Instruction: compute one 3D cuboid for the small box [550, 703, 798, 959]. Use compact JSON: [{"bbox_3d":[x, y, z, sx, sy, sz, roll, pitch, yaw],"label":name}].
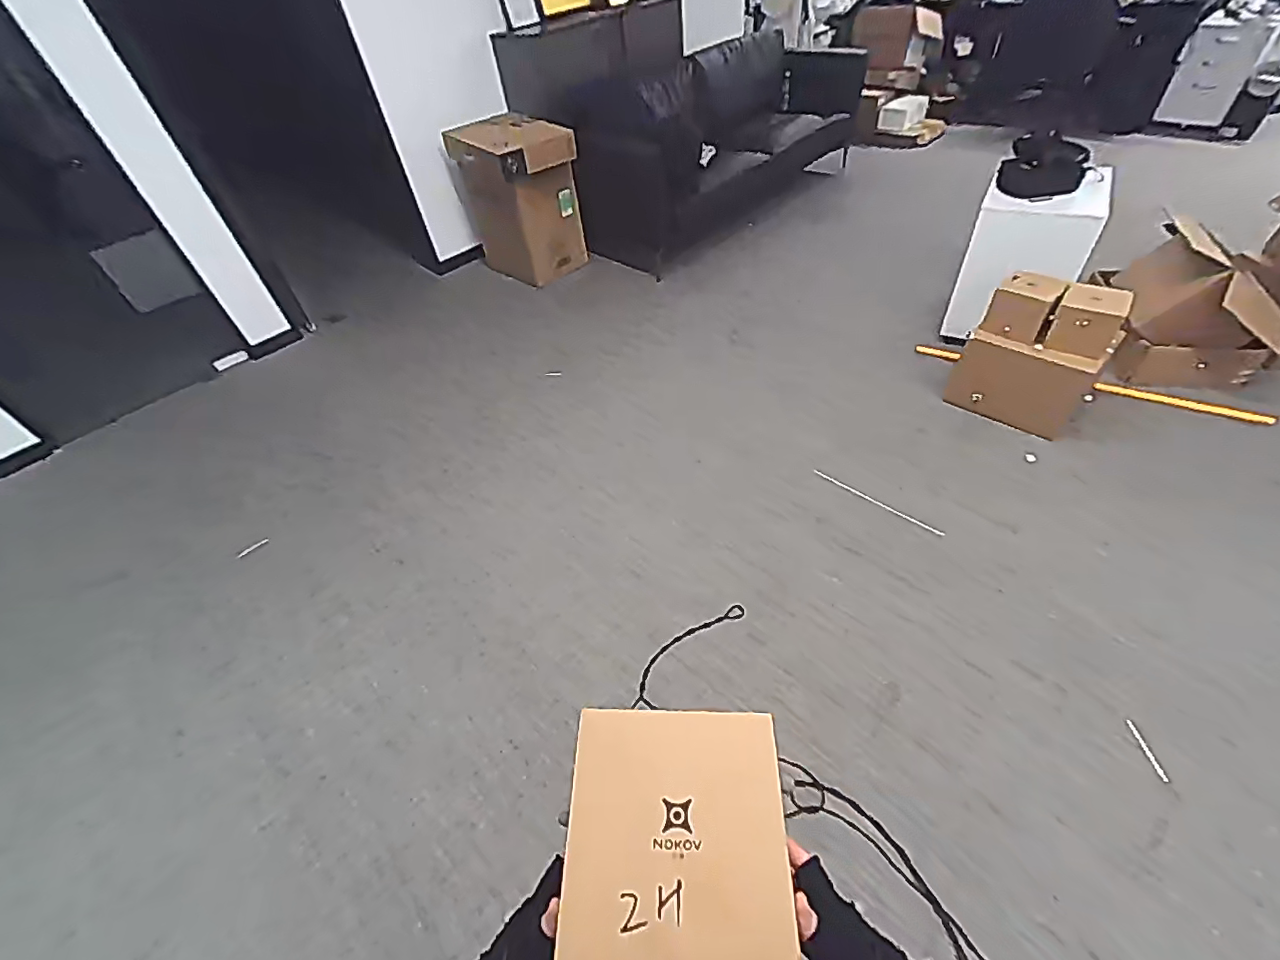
[{"bbox_3d":[0.029,0.311,0.463,0.168,0.176,0.179,0,48,4],"label":"small box"}]
